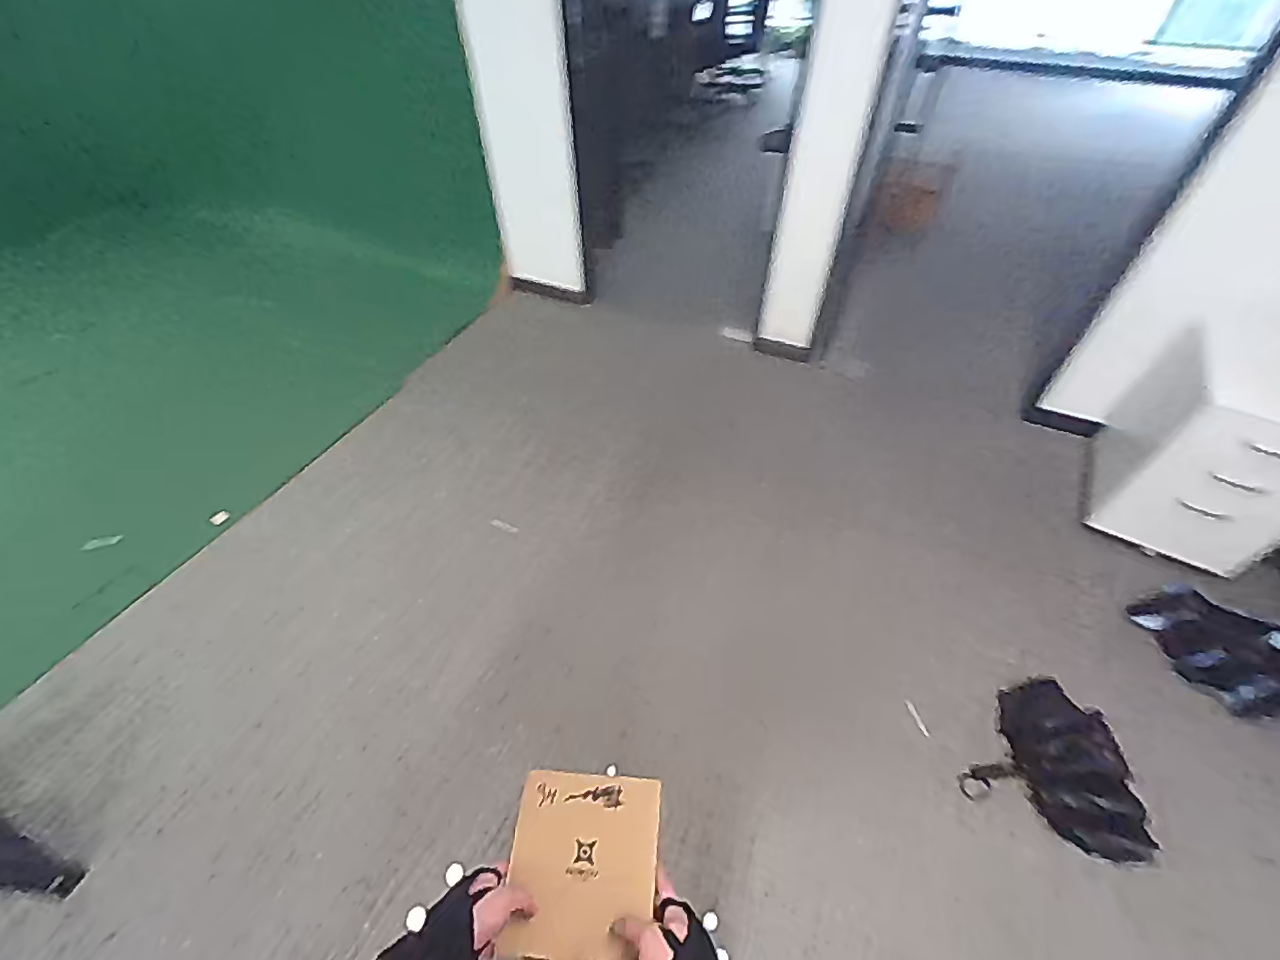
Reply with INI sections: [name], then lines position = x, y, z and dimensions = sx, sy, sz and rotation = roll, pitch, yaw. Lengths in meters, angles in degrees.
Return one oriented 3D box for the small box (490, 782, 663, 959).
[small box]
position = -0.060, 0.477, 0.646
dimensions = 0.168, 0.176, 0.179
rotation = 1, 53, 5
